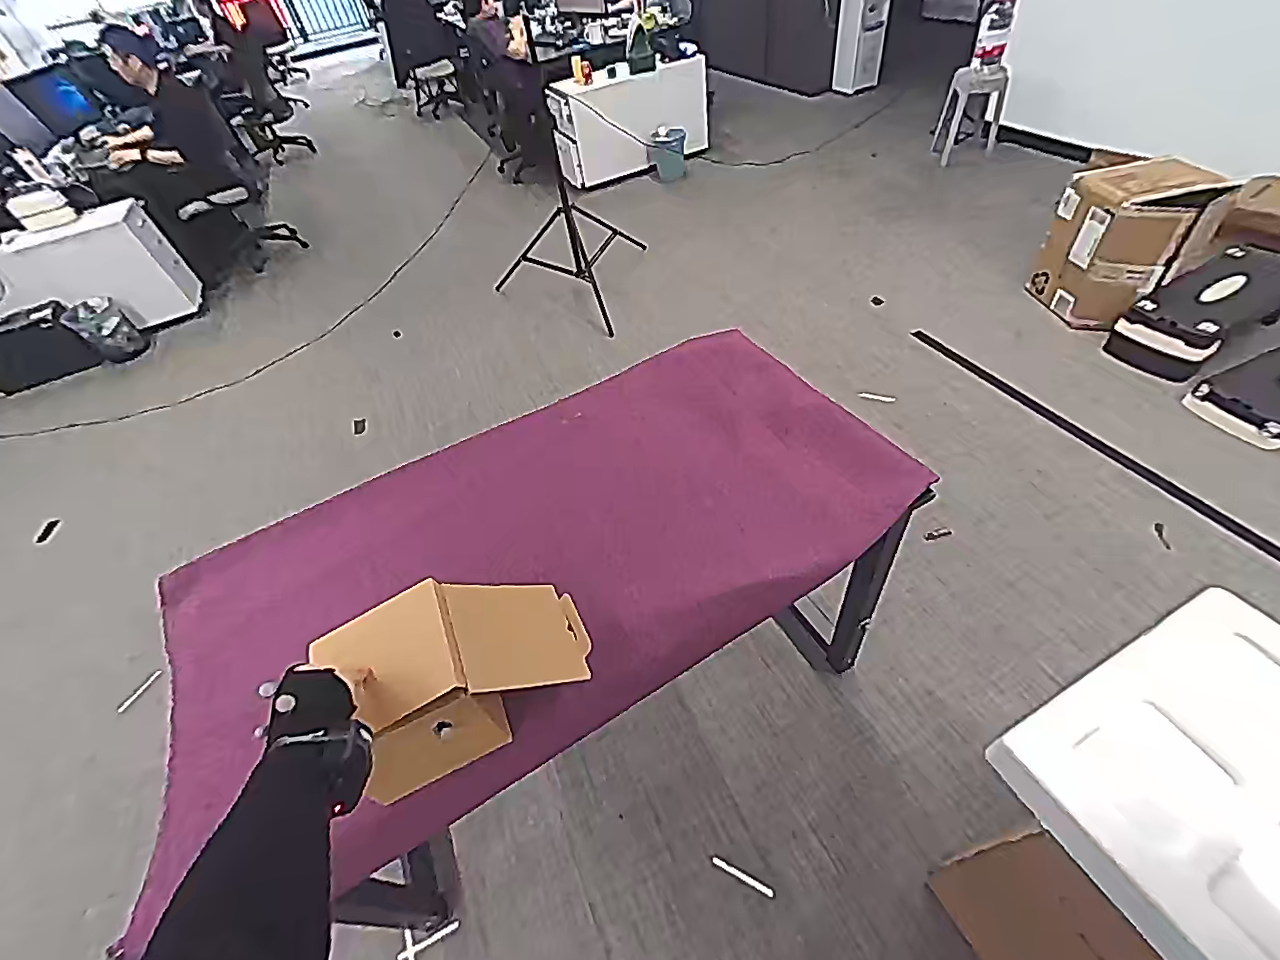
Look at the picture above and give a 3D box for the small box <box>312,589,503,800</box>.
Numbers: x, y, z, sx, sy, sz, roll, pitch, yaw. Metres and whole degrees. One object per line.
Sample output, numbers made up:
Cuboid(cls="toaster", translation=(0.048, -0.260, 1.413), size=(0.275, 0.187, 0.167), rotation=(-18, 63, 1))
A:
Cuboid(cls="small box", translation=(-0.293, 0.280, 0.706), size=(0.179, 0.176, 0.168), rotation=(-24, 48, -11))
